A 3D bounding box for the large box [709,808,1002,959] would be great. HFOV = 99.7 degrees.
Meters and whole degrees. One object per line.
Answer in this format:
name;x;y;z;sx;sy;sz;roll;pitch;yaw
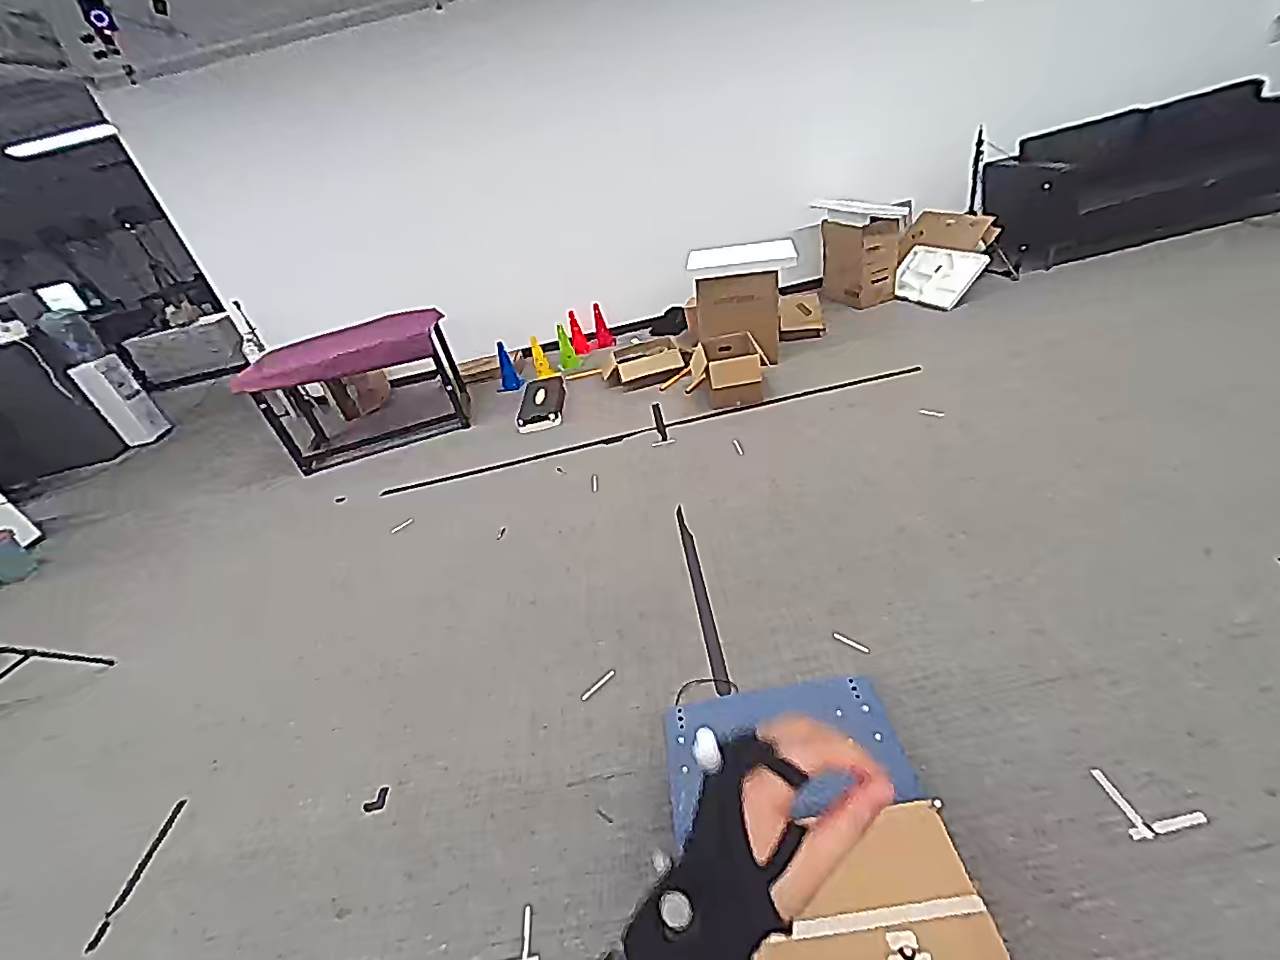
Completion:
large box;0.351;0.821;0.916;0.408;0.320;0.320;-10;33;3
